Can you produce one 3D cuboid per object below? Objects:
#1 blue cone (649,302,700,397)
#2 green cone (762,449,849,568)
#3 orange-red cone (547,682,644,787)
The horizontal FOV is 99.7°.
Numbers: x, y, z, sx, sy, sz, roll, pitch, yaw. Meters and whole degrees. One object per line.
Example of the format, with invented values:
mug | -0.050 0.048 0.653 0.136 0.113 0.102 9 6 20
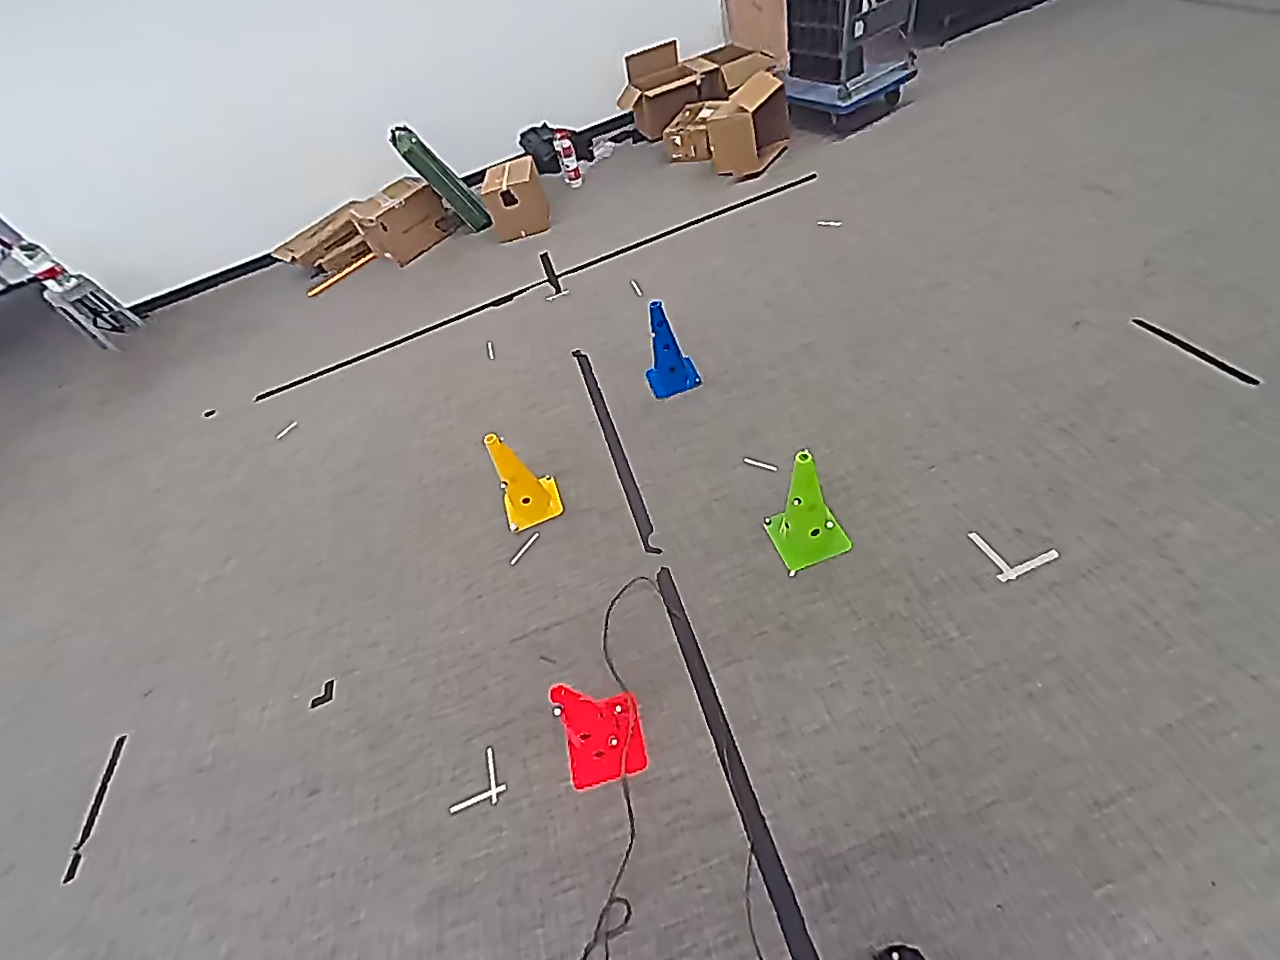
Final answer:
blue cone | 0.102 -0.525 2.123 0.192 0.380 0.193 -18 48 1
green cone | 0.456 0.053 1.502 0.202 0.368 0.200 -21 48 -1
orange-red cone | -0.139 0.559 1.271 0.199 0.360 0.198 -19 47 3
